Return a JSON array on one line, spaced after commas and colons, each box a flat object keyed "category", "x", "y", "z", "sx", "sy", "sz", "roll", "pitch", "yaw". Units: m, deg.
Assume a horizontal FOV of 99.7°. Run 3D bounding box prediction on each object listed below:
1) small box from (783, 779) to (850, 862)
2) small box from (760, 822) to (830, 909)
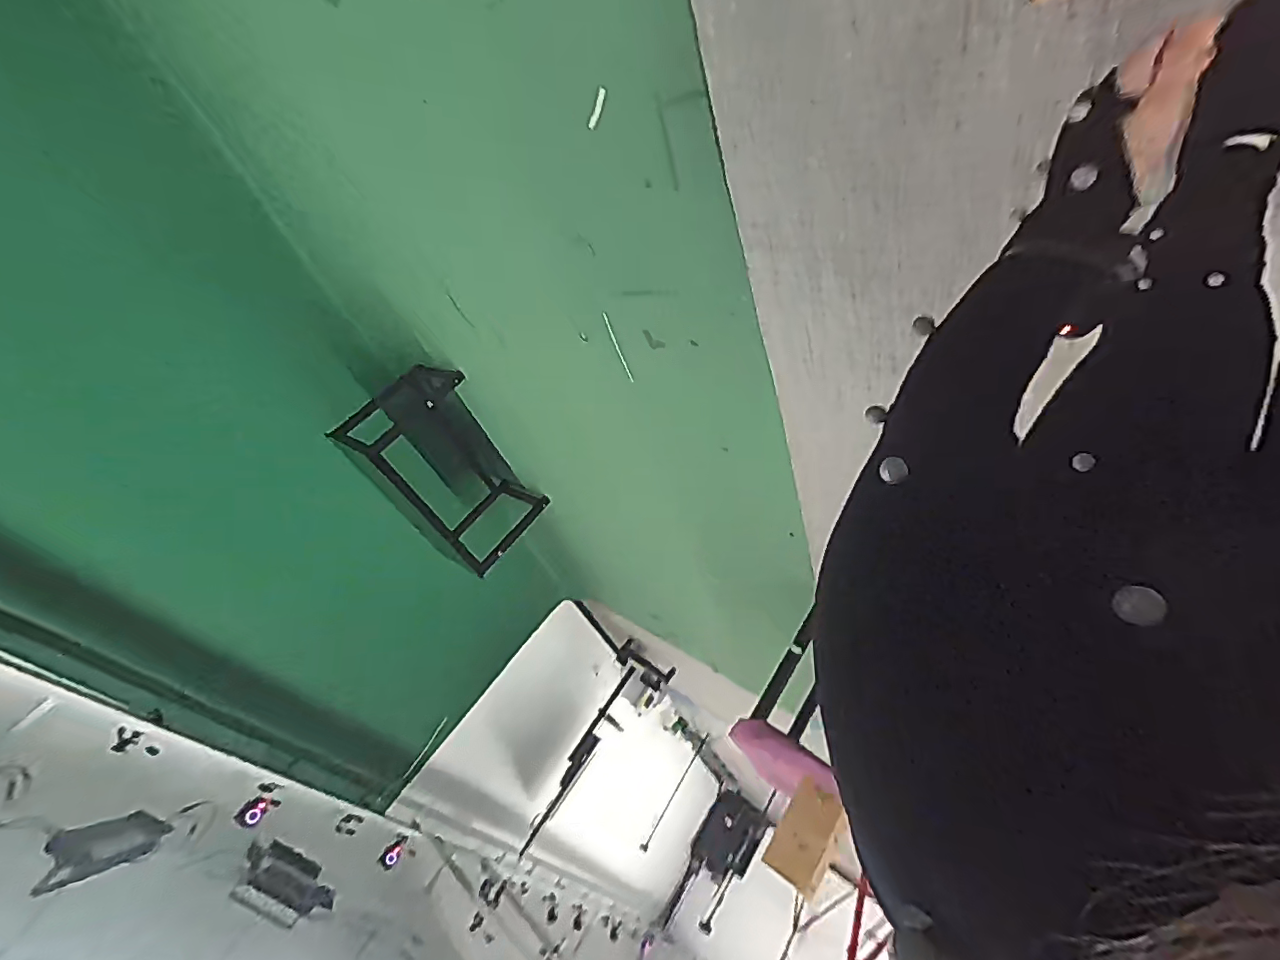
[{"category": "small box", "x": 0.638, "y": 1.217, "z": 1.938, "sx": 0.168, "sy": 0.176, "sz": 0.179, "roll": 18, "pitch": 147, "yaw": 39}, {"category": "small box", "x": 0.543, "y": 1.332, "z": 1.874, "sx": 0.168, "sy": 0.176, "sz": 0.179, "roll": 18, "pitch": 147, "yaw": 39}]
